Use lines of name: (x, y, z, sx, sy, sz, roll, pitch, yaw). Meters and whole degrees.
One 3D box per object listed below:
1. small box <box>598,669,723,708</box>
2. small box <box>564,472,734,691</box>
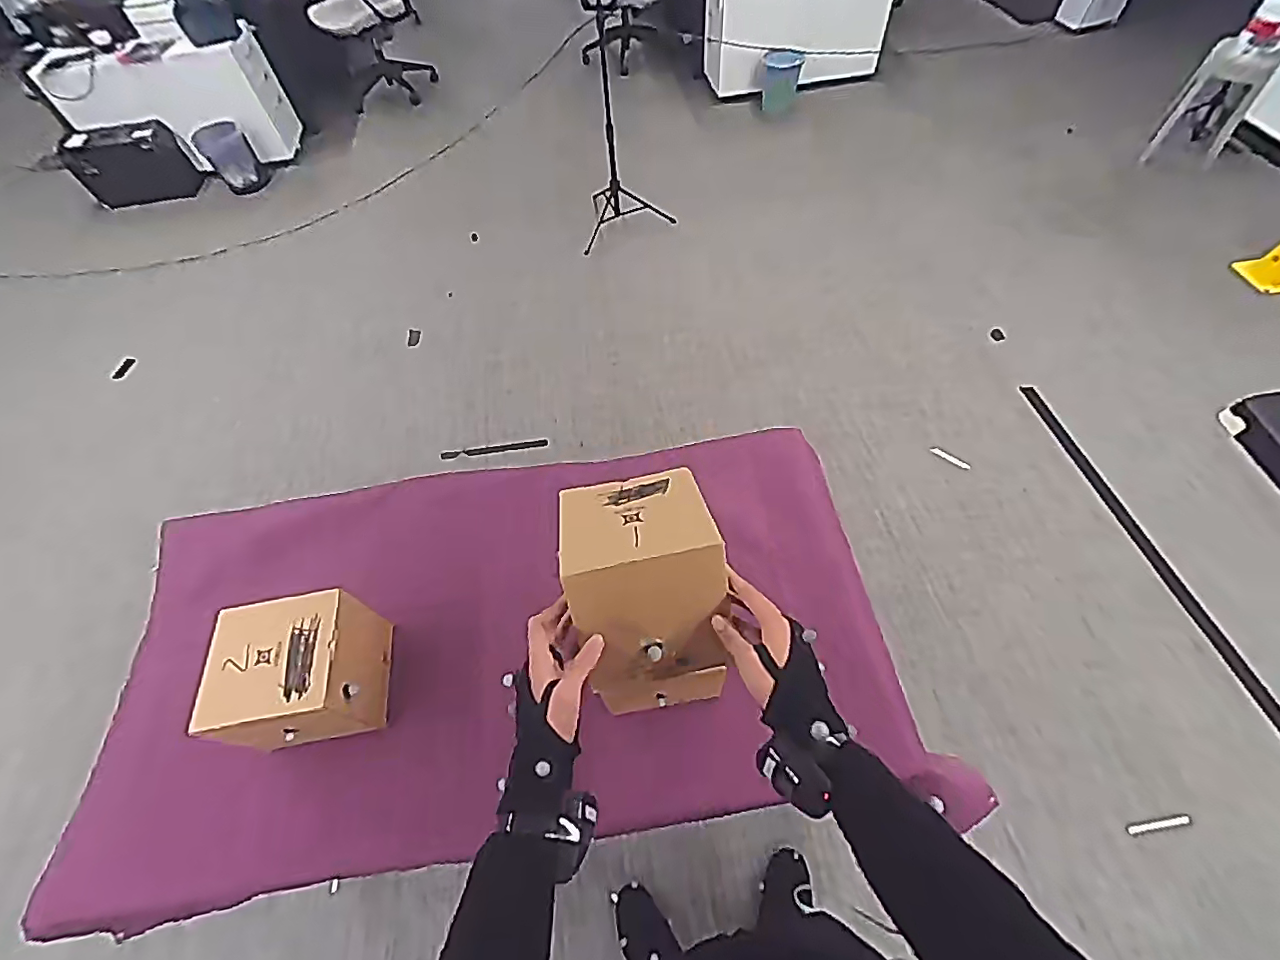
small box: (0.022, 0.227, 0.799, 0.168, 0.176, 0.179, -9, 57, -2)
small box: (0.008, 0.114, 0.640, 0.168, 0.176, 0.179, -11, 29, -2)
